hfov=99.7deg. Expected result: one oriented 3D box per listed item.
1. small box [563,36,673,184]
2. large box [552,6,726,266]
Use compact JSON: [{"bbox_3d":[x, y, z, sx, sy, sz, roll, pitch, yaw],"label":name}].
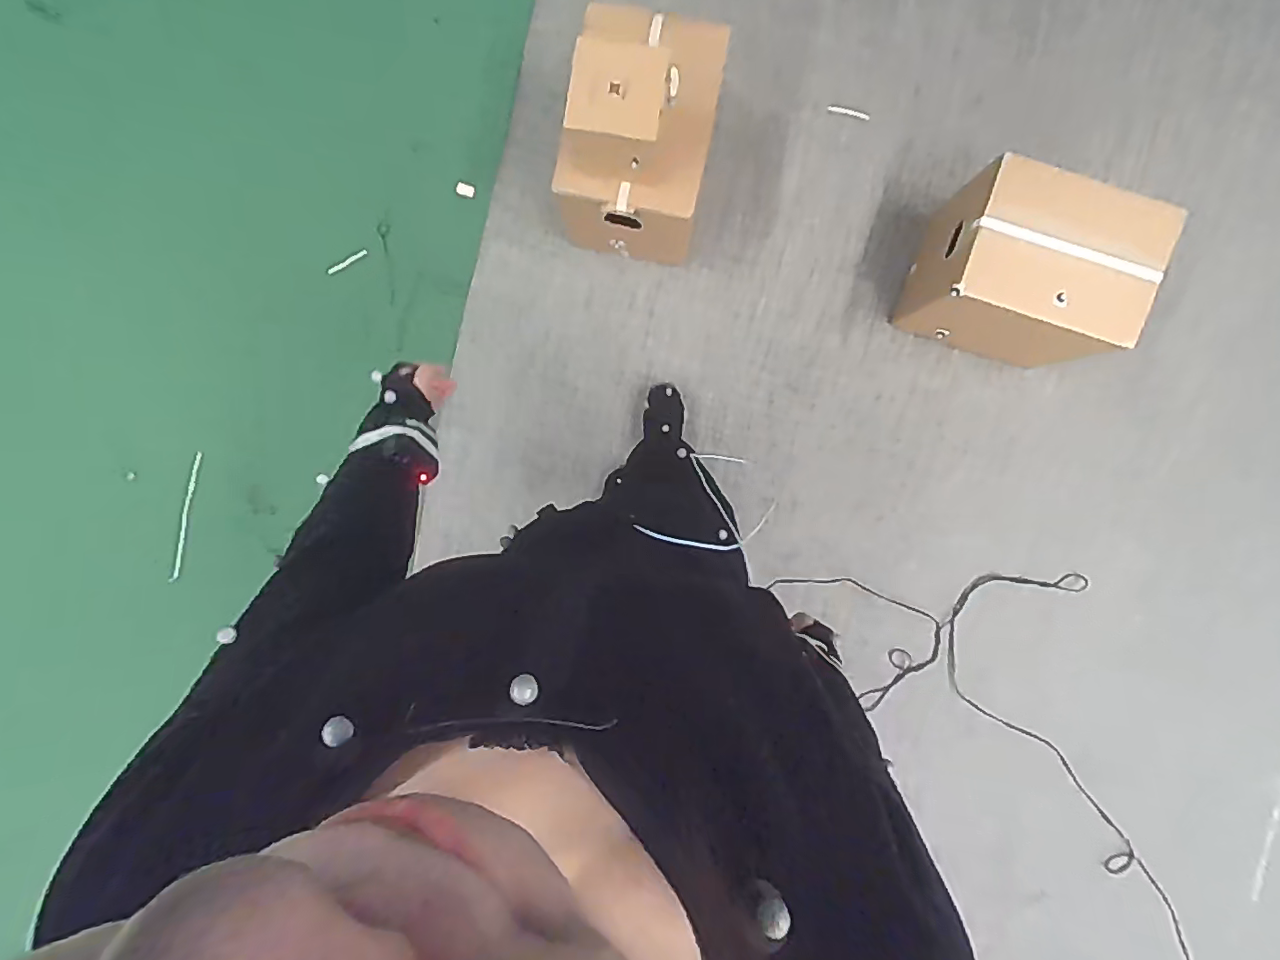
[{"bbox_3d":[-0.037,-0.708,1.056,0.179,0.176,0.168,11,92,2],"label":"small box"},{"bbox_3d":[0.000,-0.786,1.297,0.320,0.320,0.408,12,92,0],"label":"large box"}]
